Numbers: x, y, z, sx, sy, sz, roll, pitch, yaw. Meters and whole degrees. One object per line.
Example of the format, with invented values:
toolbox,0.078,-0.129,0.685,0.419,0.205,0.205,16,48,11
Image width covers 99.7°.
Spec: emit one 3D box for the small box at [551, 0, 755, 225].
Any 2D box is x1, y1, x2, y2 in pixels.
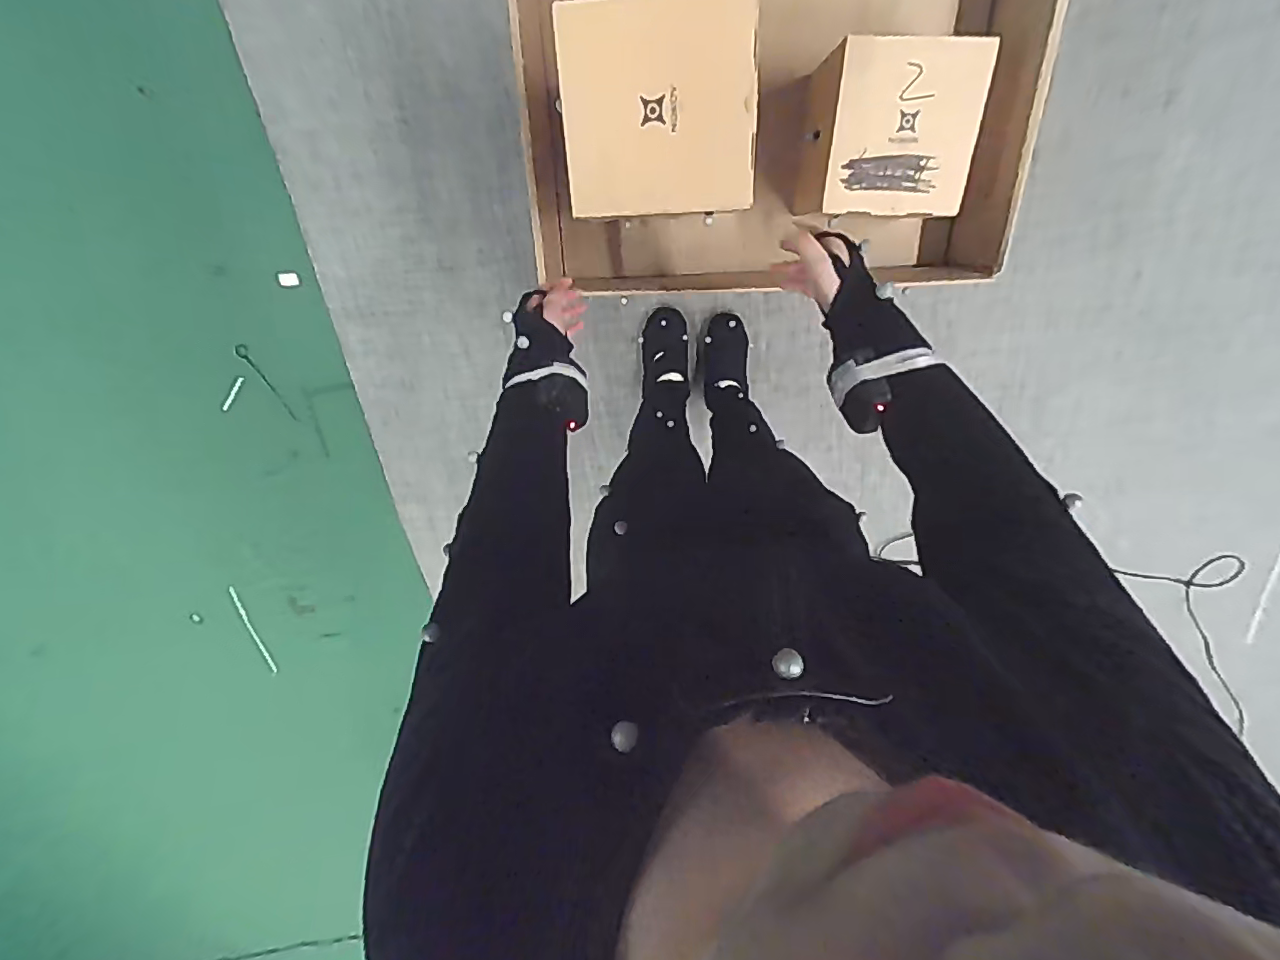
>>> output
small box,0.015,-0.361,0.561,0.179,0.176,0.168,-3,115,1
